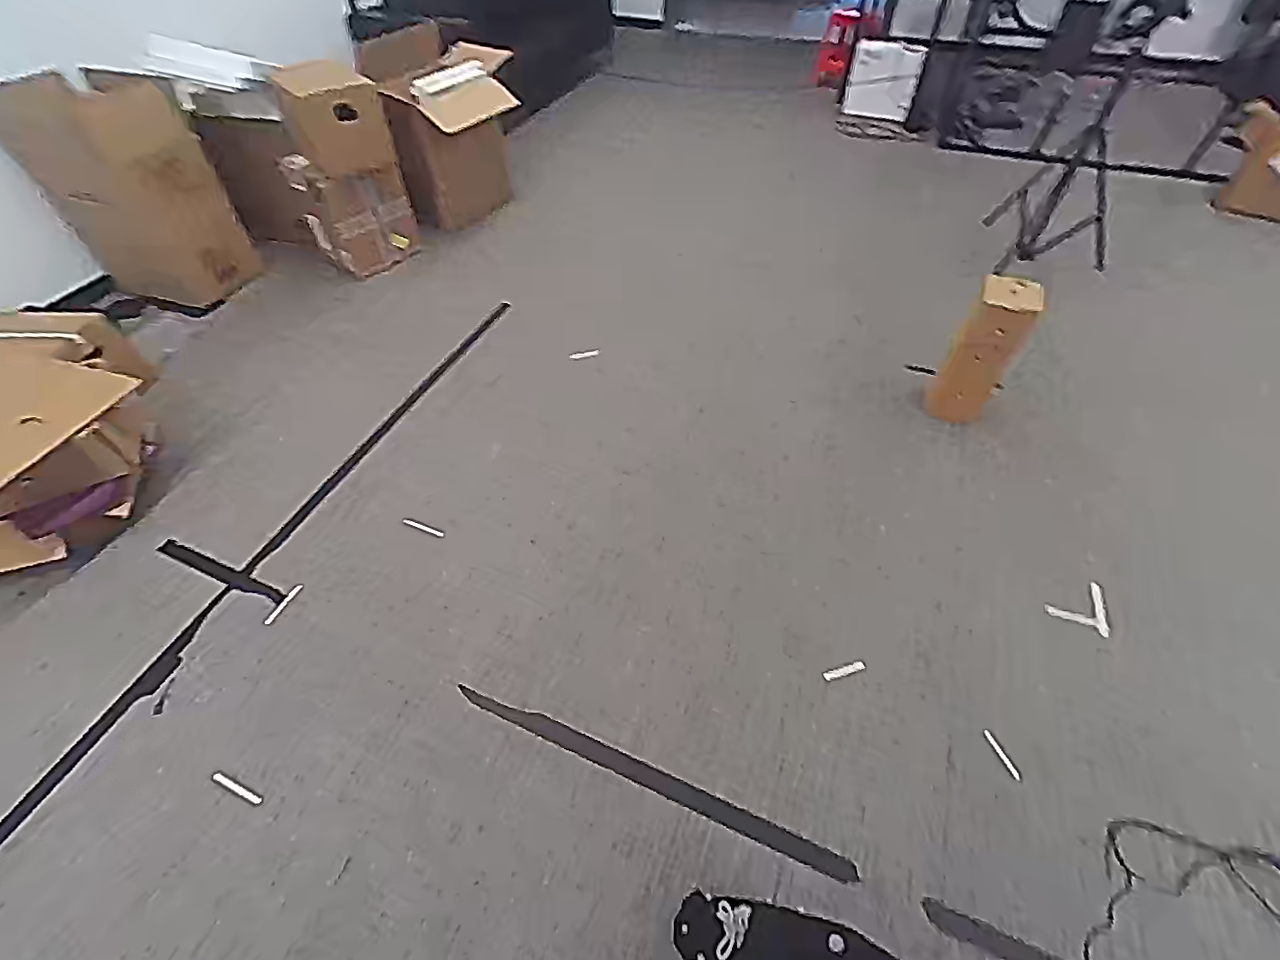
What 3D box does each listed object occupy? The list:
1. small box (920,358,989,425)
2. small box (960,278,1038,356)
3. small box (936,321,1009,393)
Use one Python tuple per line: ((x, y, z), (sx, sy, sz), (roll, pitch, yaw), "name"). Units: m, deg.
((1.190, -0.331, 2.046), (0.179, 0.176, 0.168), (17, 54, 15), "small box")
((1.184, -0.537, 1.790), (0.168, 0.176, 0.179), (18, 55, 16), "small box")
((1.178, -0.434, 1.918), (0.179, 0.176, 0.168), (19, 55, 16), "small box")
